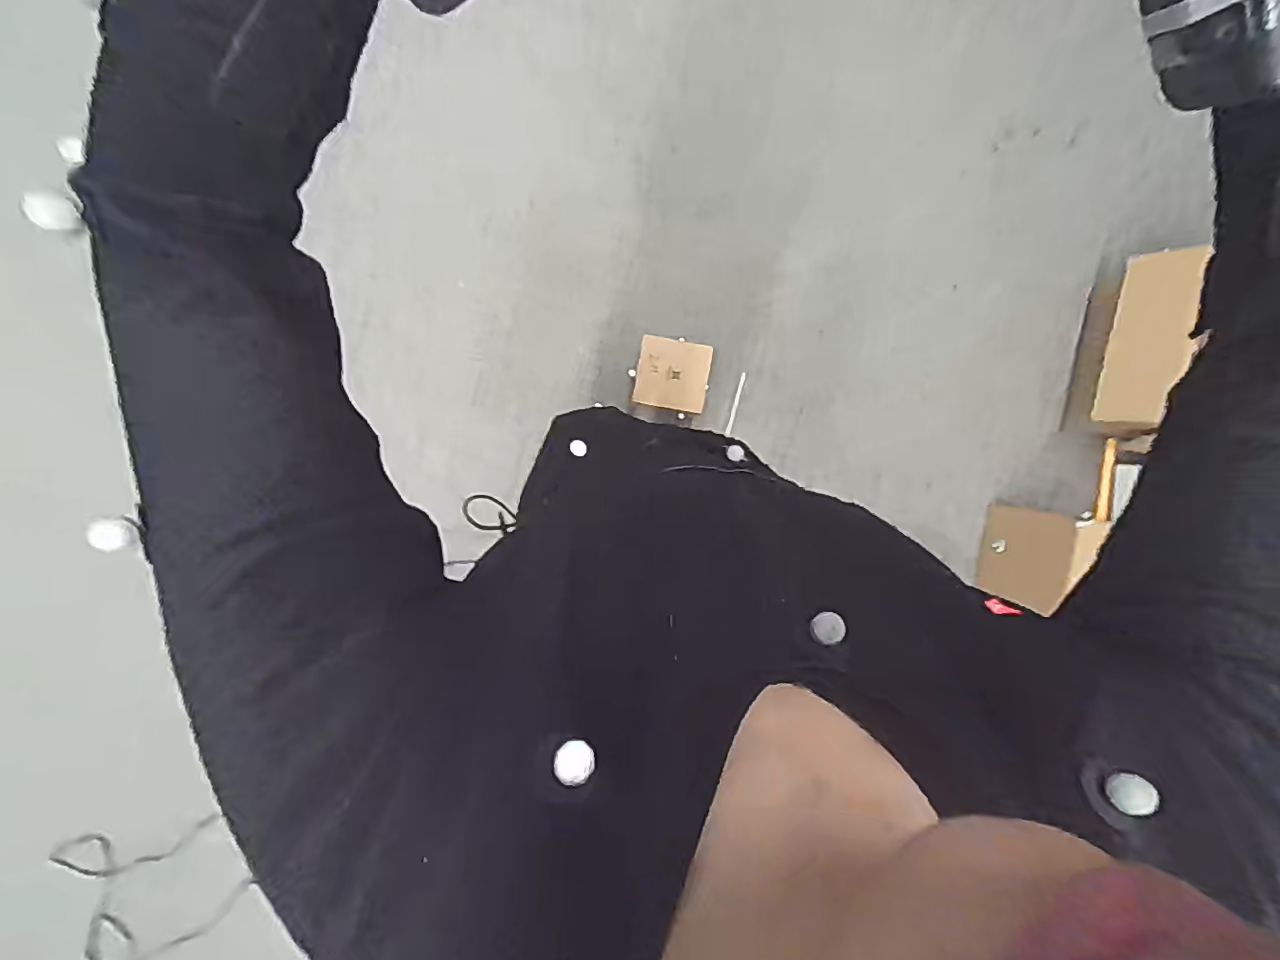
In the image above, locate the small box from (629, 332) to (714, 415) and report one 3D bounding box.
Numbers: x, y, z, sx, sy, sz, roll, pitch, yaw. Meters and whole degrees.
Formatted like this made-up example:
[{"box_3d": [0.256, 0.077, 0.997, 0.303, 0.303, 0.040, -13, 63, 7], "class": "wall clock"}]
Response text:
[{"box_3d": [0.074, -0.262, 1.371, 0.179, 0.176, 0.168, 10, 93, -3], "class": "small box"}]
